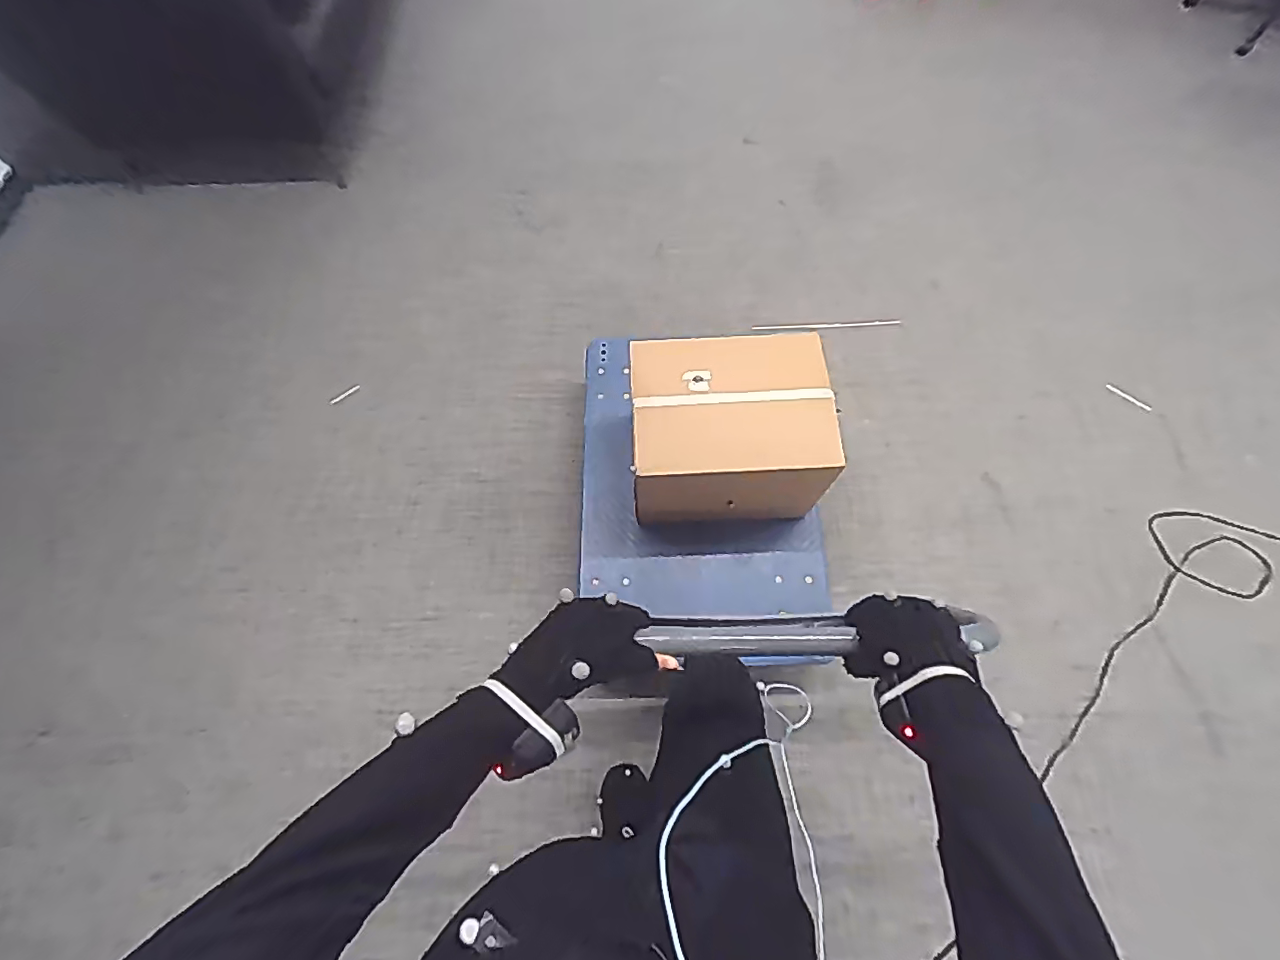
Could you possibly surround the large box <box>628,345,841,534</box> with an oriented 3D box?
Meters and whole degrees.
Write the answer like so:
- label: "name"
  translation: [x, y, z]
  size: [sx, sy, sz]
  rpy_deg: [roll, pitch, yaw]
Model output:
- label: "large box"
  translation: [0.191, -0.076, 1.241]
  size: [0.408, 0.320, 0.320]
  rpy_deg: [-4, 66, 1]
